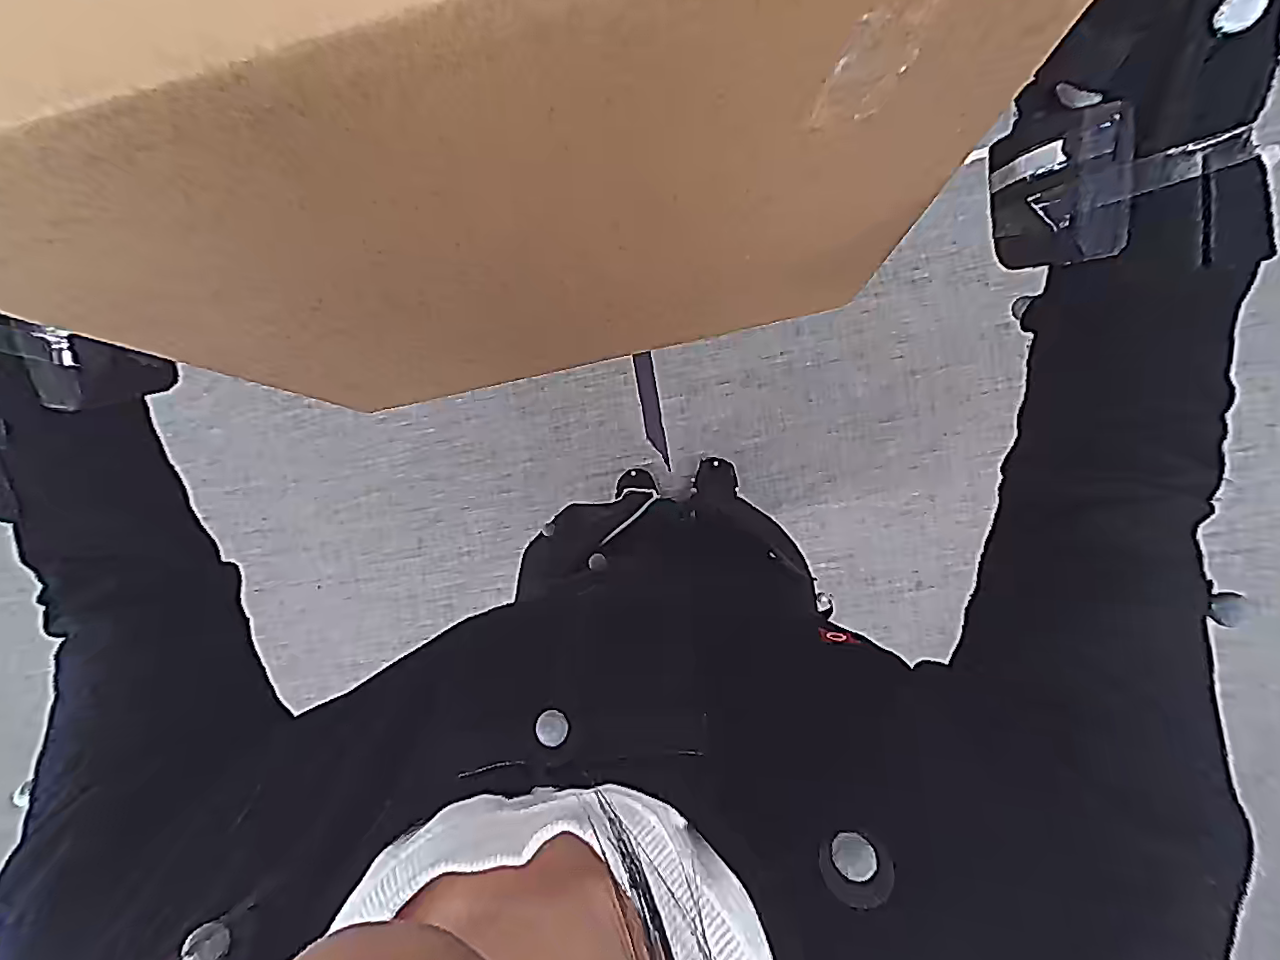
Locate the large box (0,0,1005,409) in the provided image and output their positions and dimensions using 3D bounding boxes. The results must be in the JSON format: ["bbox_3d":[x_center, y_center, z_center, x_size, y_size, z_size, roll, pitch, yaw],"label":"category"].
[{"bbox_3d":[-0.088,-0.257,0.311,0.408,0.320,0.320,-12,87,4],"label":"large box"}]
